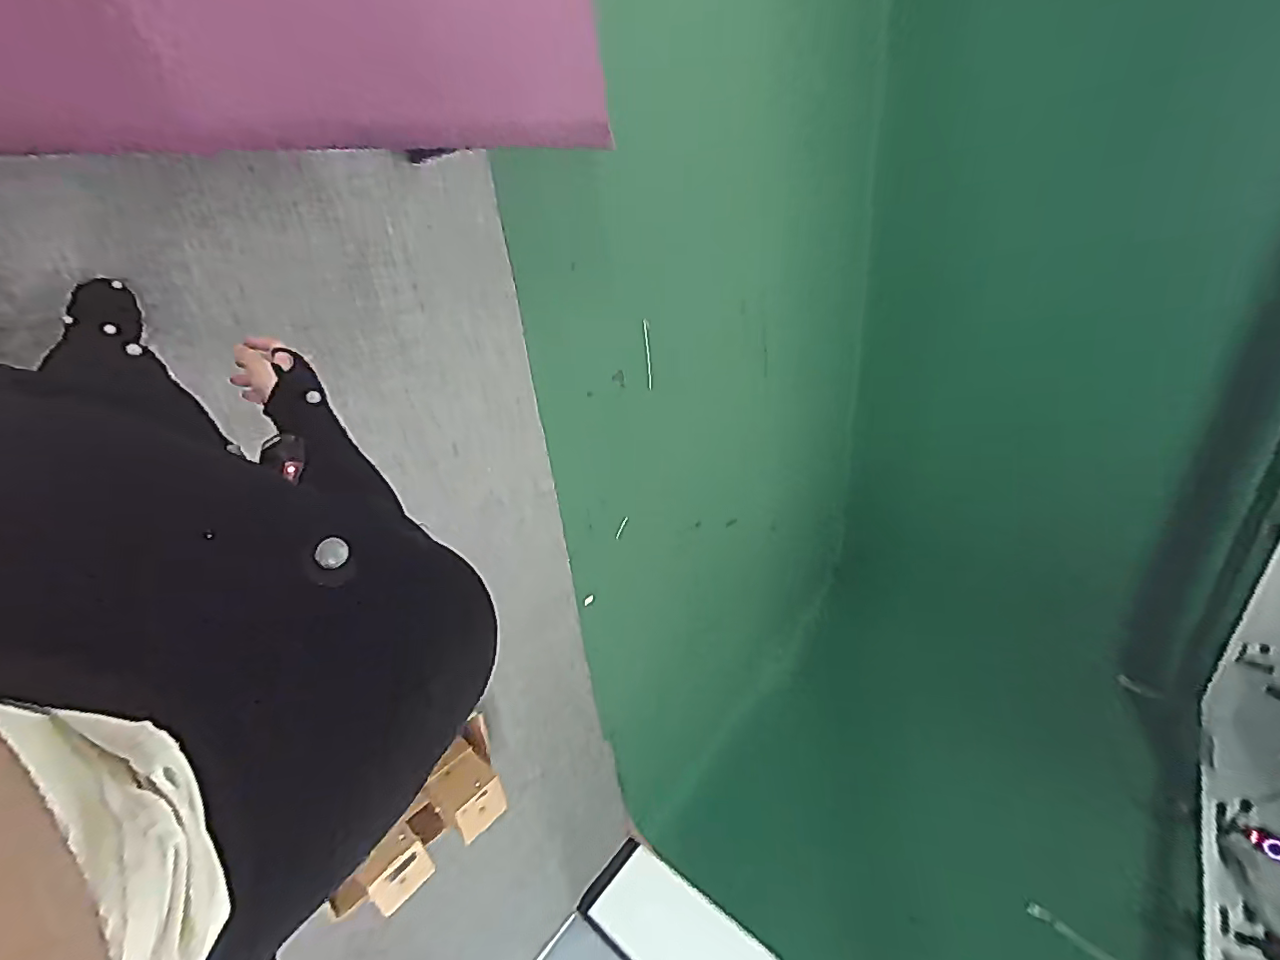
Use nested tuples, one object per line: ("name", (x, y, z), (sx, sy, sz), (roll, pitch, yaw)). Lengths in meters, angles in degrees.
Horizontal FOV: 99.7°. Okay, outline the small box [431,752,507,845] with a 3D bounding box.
("small box", (-0.580, 1.072, 1.835), (0.168, 0.176, 0.179), (-31, 127, -42))
